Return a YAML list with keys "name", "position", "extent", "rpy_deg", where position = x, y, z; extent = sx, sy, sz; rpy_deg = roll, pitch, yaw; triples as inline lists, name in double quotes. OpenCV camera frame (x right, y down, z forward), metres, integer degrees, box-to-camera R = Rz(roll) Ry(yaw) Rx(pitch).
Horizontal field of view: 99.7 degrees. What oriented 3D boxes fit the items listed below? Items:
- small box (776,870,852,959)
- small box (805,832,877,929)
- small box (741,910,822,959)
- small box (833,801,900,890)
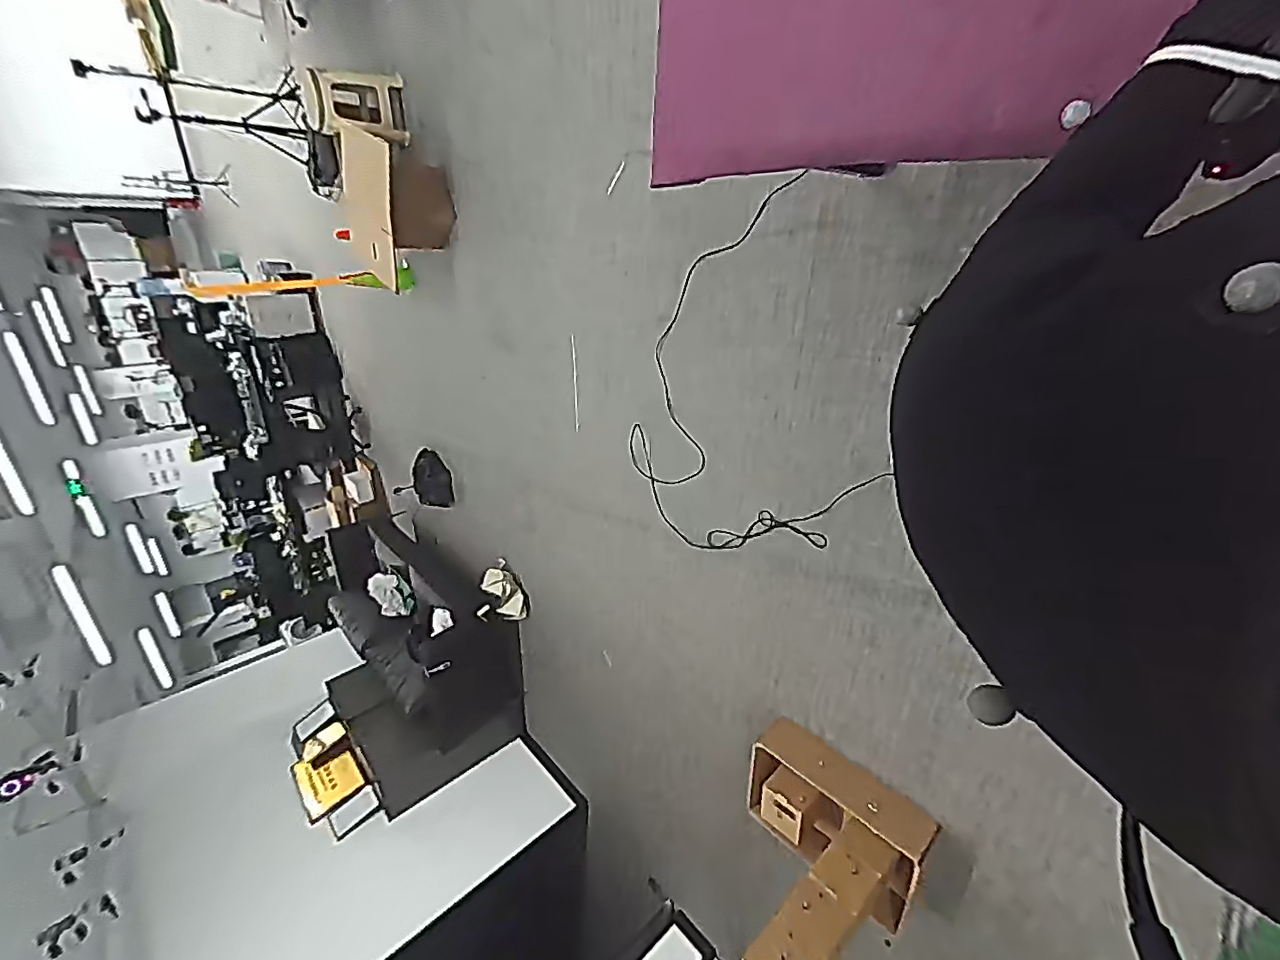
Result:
- name: "small box"
  position: [0.530, 1.364, 1.664]
  extent: [0.168, 0.176, 0.179]
  rpy_deg: [22, 123, 45]
- name: "small box"
  position: [0.650, 1.311, 1.762]
  extent: [0.168, 0.176, 0.179]
  rpy_deg: [24, 124, 43]
- name: "small box"
  position: [0.408, 1.414, 1.568]
  extent: [0.168, 0.176, 0.179]
  rpy_deg: [23, 123, 45]
- name: "small box"
  position: [0.770, 1.263, 1.860]
  extent: [0.168, 0.176, 0.179]
  rpy_deg: [25, 125, 42]
